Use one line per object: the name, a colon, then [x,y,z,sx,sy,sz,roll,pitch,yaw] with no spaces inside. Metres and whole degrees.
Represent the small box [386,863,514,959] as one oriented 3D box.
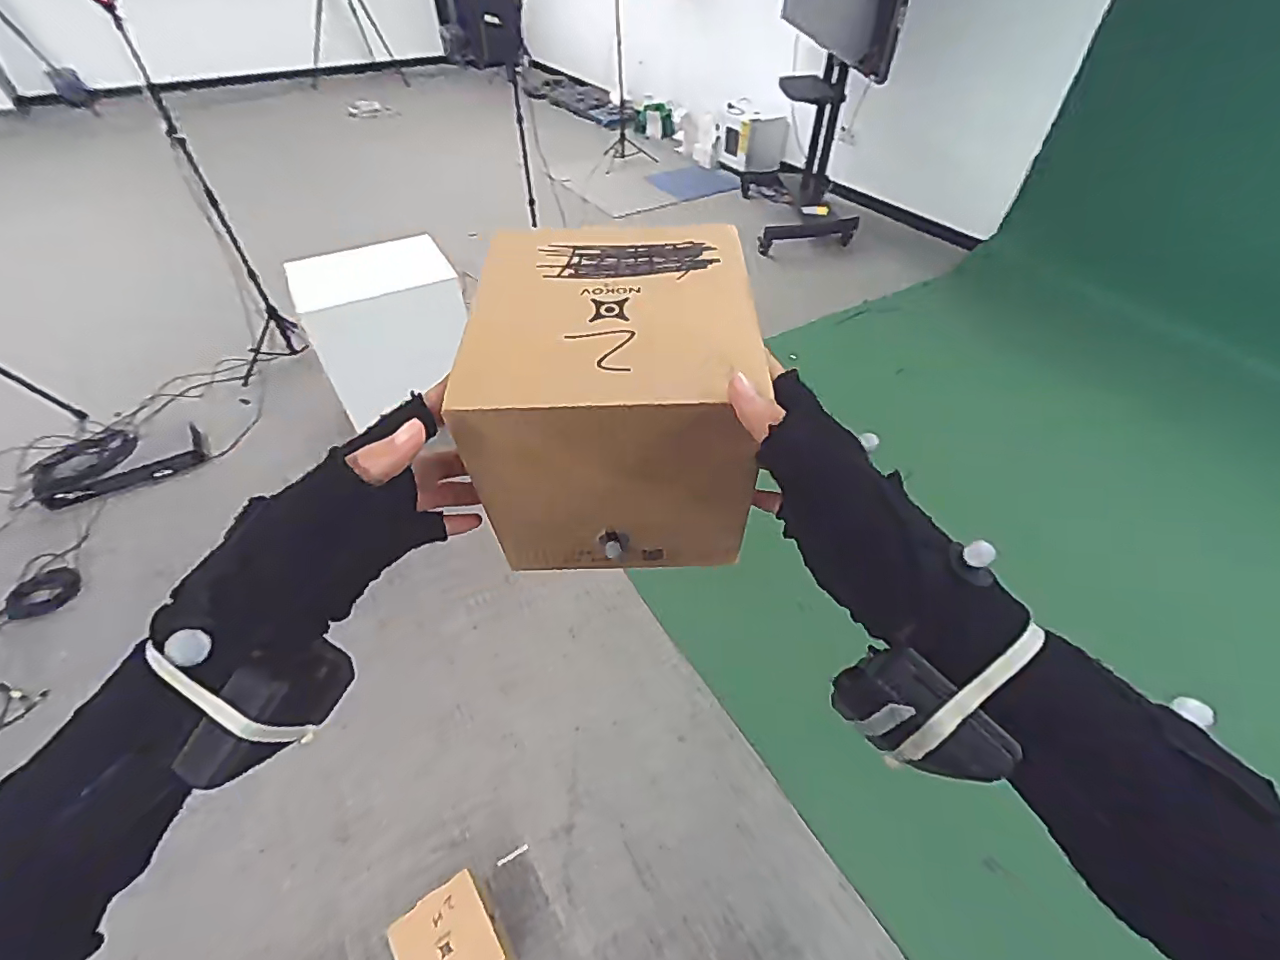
small box: [-0.365,0.903,1.064,0.168,0.176,0.179,-27,54,-25]
